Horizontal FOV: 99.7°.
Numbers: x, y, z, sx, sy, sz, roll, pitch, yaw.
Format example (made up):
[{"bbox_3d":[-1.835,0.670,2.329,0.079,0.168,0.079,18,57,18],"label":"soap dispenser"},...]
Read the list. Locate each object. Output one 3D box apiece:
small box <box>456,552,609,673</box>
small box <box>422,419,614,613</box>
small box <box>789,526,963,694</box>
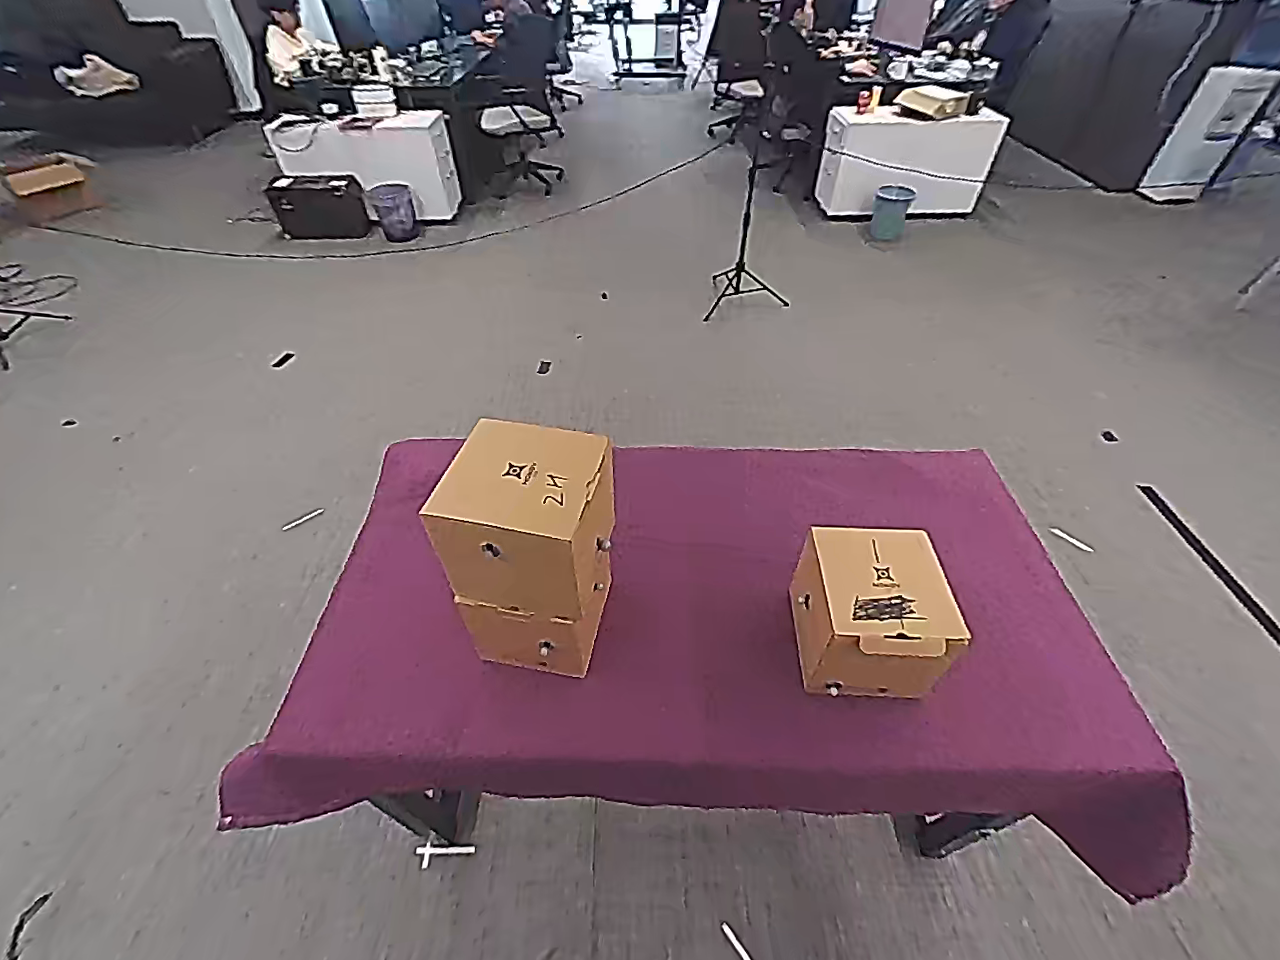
[{"bbox_3d":[-0.144,0.161,0.803,0.168,0.176,0.179,9,47,8],"label":"small box"},{"bbox_3d":[-0.138,0.047,0.685,0.179,0.176,0.168,10,48,8],"label":"small box"},{"bbox_3d":[0.319,0.188,0.773,0.168,0.176,0.179,2,45,3],"label":"small box"}]
